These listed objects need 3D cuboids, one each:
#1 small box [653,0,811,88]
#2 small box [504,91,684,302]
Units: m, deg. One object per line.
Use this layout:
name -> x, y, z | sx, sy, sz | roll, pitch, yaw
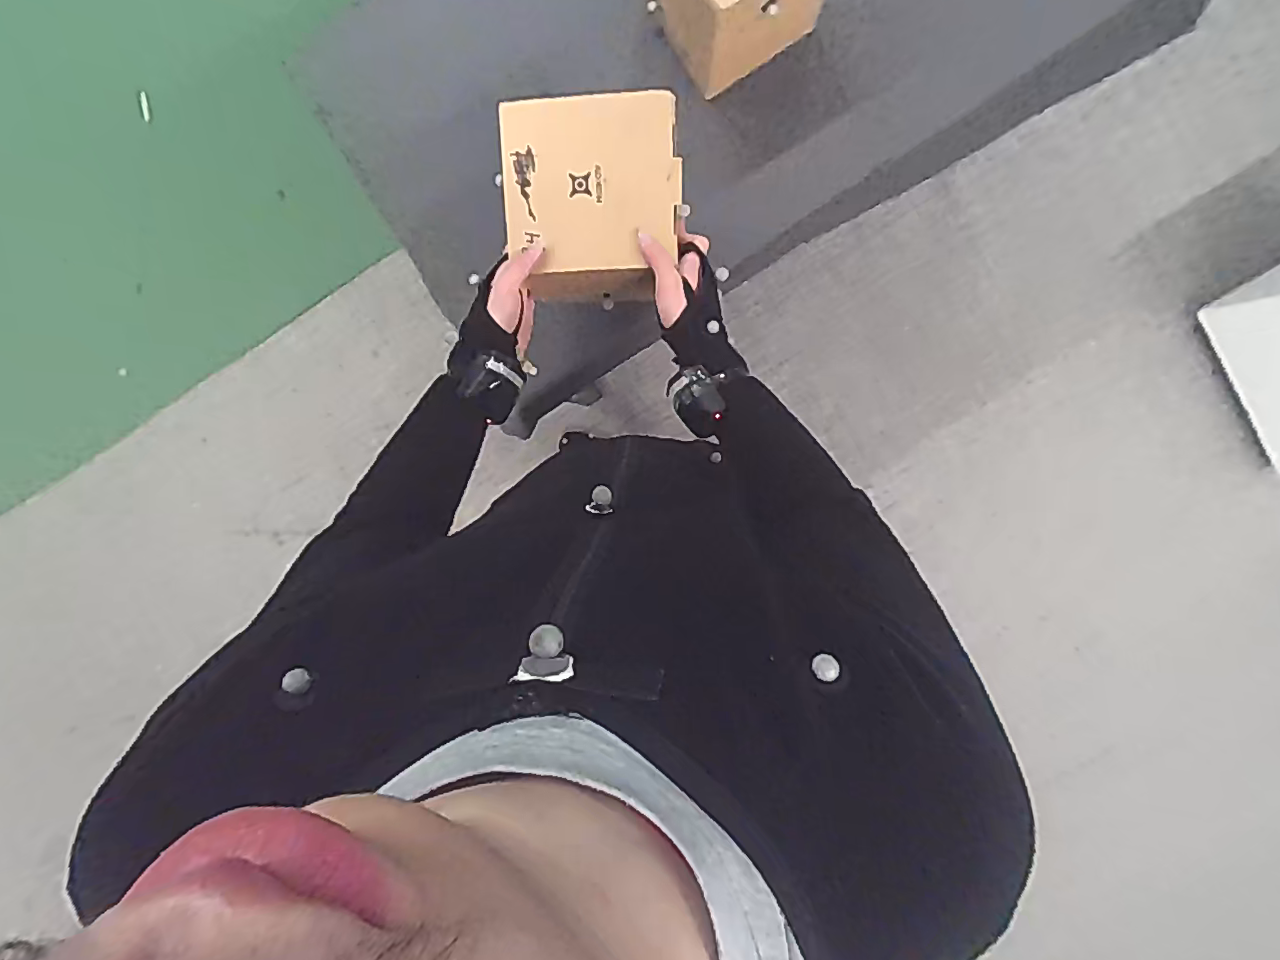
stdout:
small box -> 0.115, -0.644, 0.668 | 0.179, 0.176, 0.168 | -31, 95, 4
small box -> -0.043, -0.303, 0.612 | 0.179, 0.176, 0.168 | -1, 97, 3
